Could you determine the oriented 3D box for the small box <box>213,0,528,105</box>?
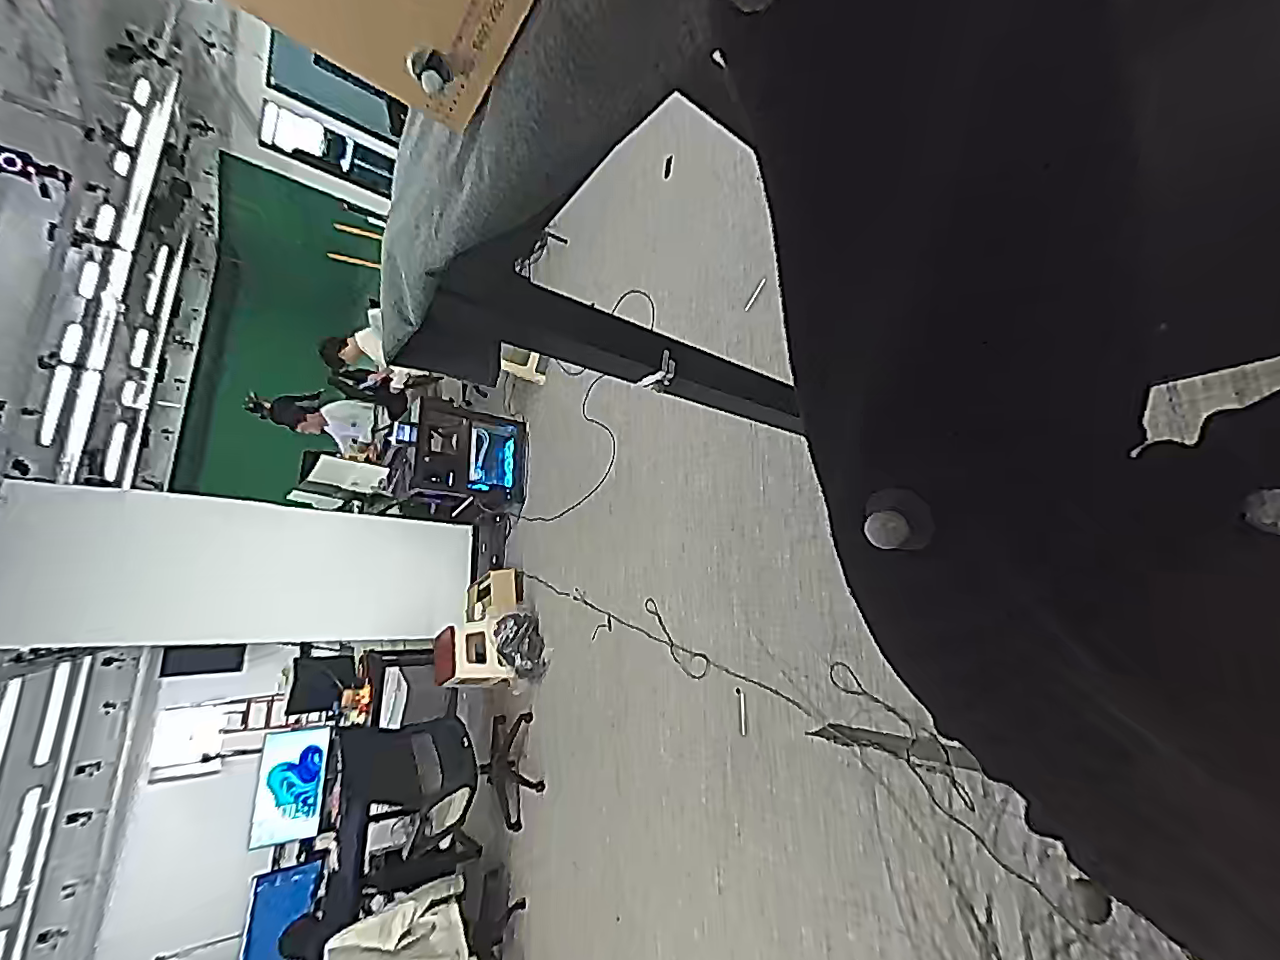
[{"bbox_3d":[-0.134,-0.342,0.277,0.168,0.176,0.179,-20,63,48],"label":"small box"}]
